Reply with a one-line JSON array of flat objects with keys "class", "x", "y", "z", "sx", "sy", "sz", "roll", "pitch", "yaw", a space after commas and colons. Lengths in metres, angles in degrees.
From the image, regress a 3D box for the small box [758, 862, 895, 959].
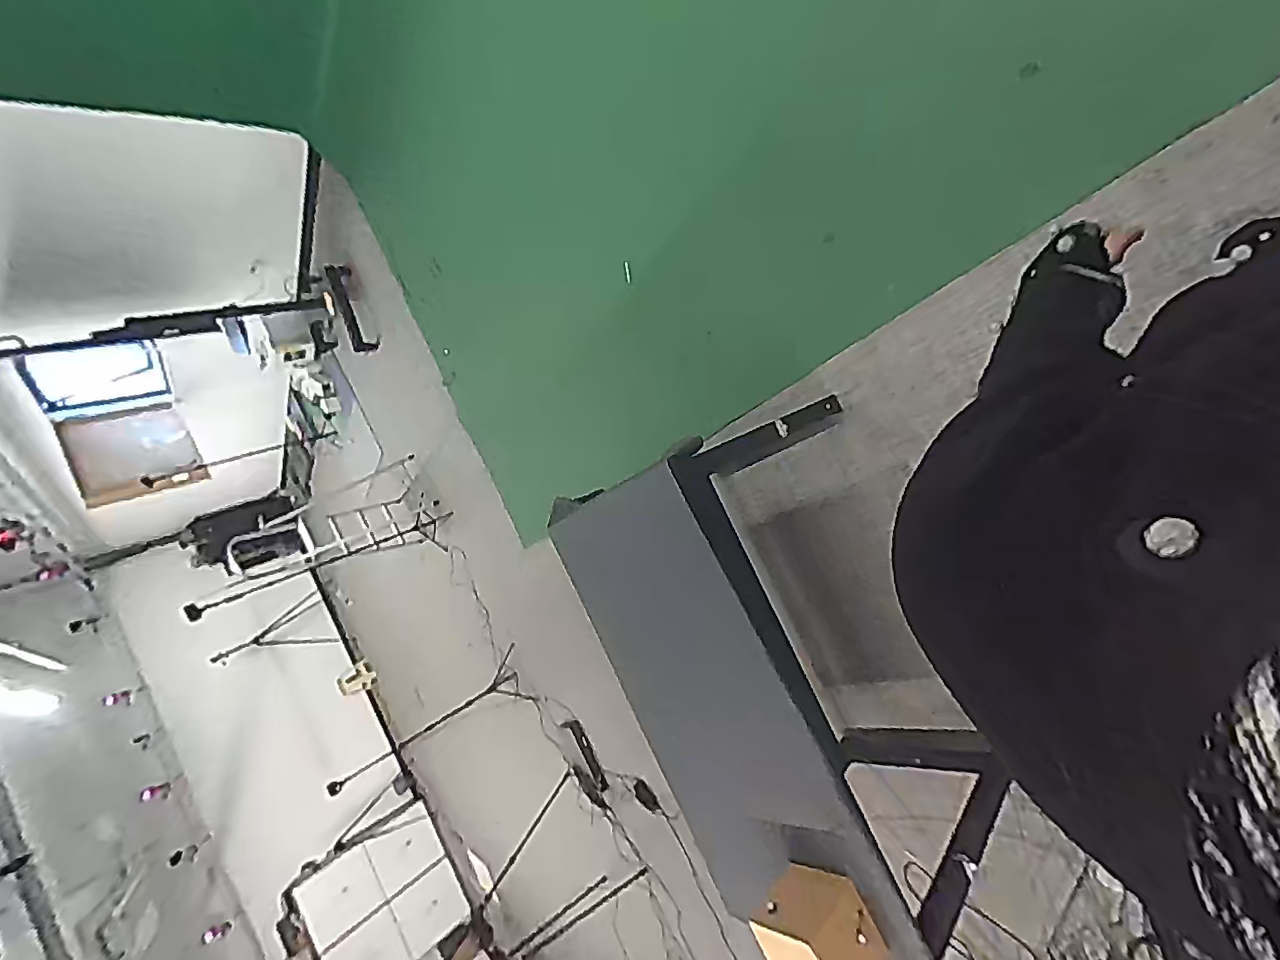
[{"class": "small box", "x": 0.389, "y": 0.941, "z": 1.125, "sx": 0.179, "sy": 0.176, "sz": 0.168, "roll": -34, "pitch": 82, "yaw": 50}]
